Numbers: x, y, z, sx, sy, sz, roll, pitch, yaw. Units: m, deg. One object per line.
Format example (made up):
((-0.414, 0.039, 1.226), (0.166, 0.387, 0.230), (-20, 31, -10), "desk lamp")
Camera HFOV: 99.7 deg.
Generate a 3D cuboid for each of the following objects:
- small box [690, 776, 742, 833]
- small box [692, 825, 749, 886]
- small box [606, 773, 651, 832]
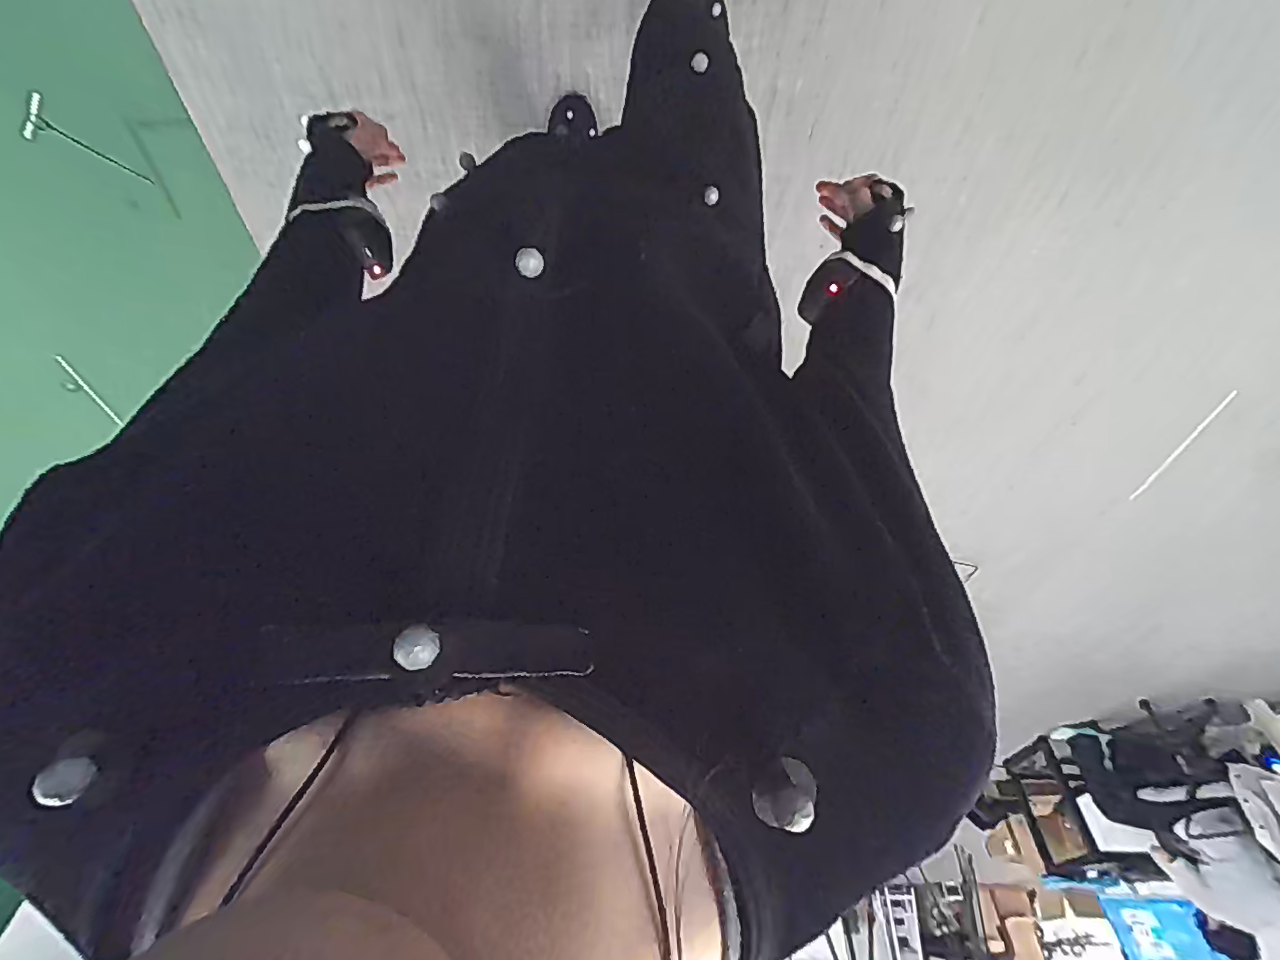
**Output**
((0.289, 1.263, 2.103), (0.179, 0.176, 0.168), (1, 137, 0), "small box")
((0.290, 1.382, 1.989), (0.179, 0.176, 0.168), (2, 137, 0), "small box")
((-0.046, 1.253, 2.100), (0.168, 0.176, 0.179), (2, 137, -1), "small box")
